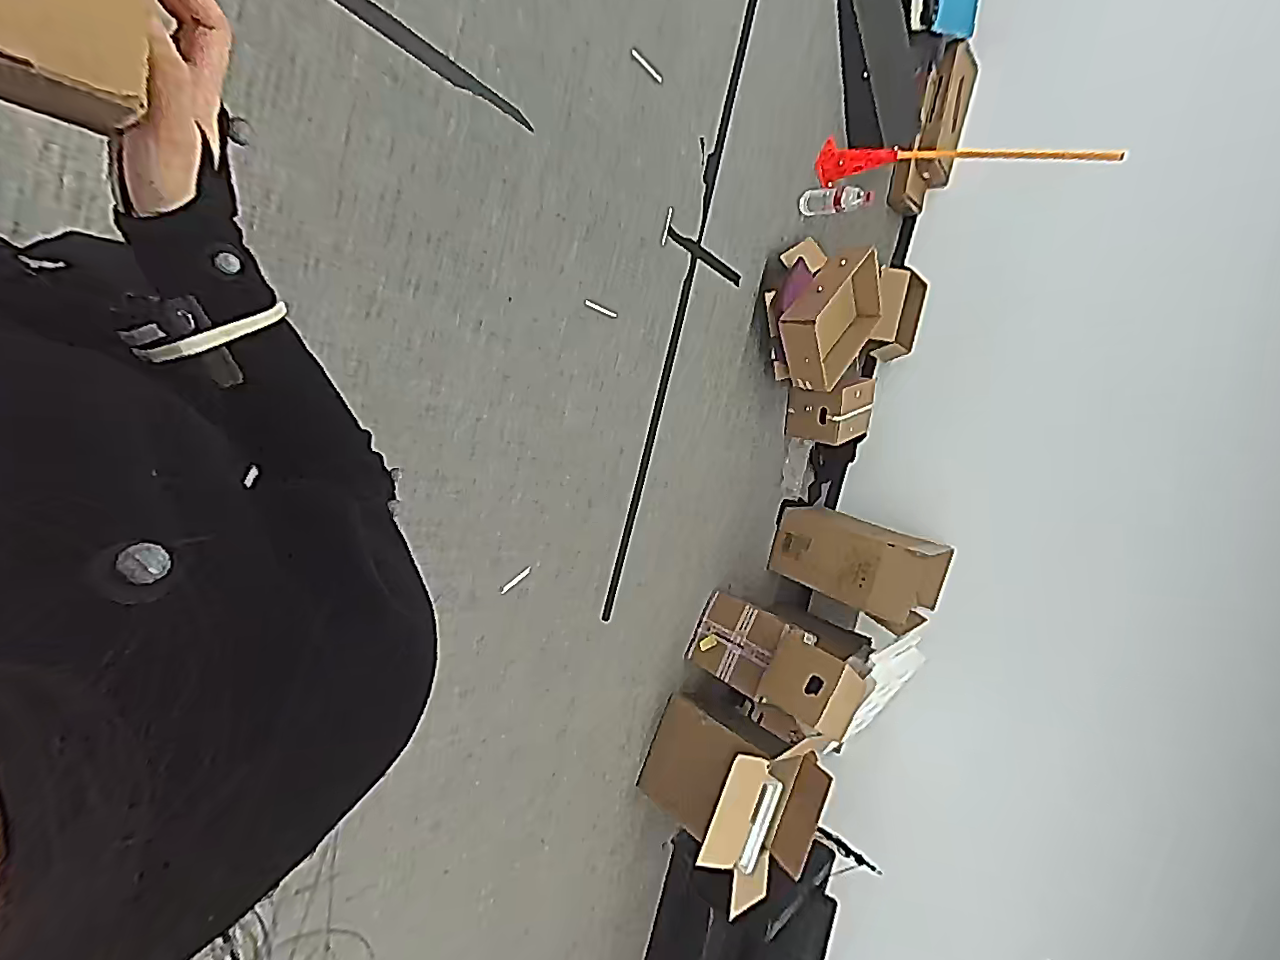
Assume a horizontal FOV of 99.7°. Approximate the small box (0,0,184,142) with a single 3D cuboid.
[{"bbox_3d":[-0.281,-0.254,0.194,0.168,0.176,0.179,2,109,-49],"label":"small box"}]
